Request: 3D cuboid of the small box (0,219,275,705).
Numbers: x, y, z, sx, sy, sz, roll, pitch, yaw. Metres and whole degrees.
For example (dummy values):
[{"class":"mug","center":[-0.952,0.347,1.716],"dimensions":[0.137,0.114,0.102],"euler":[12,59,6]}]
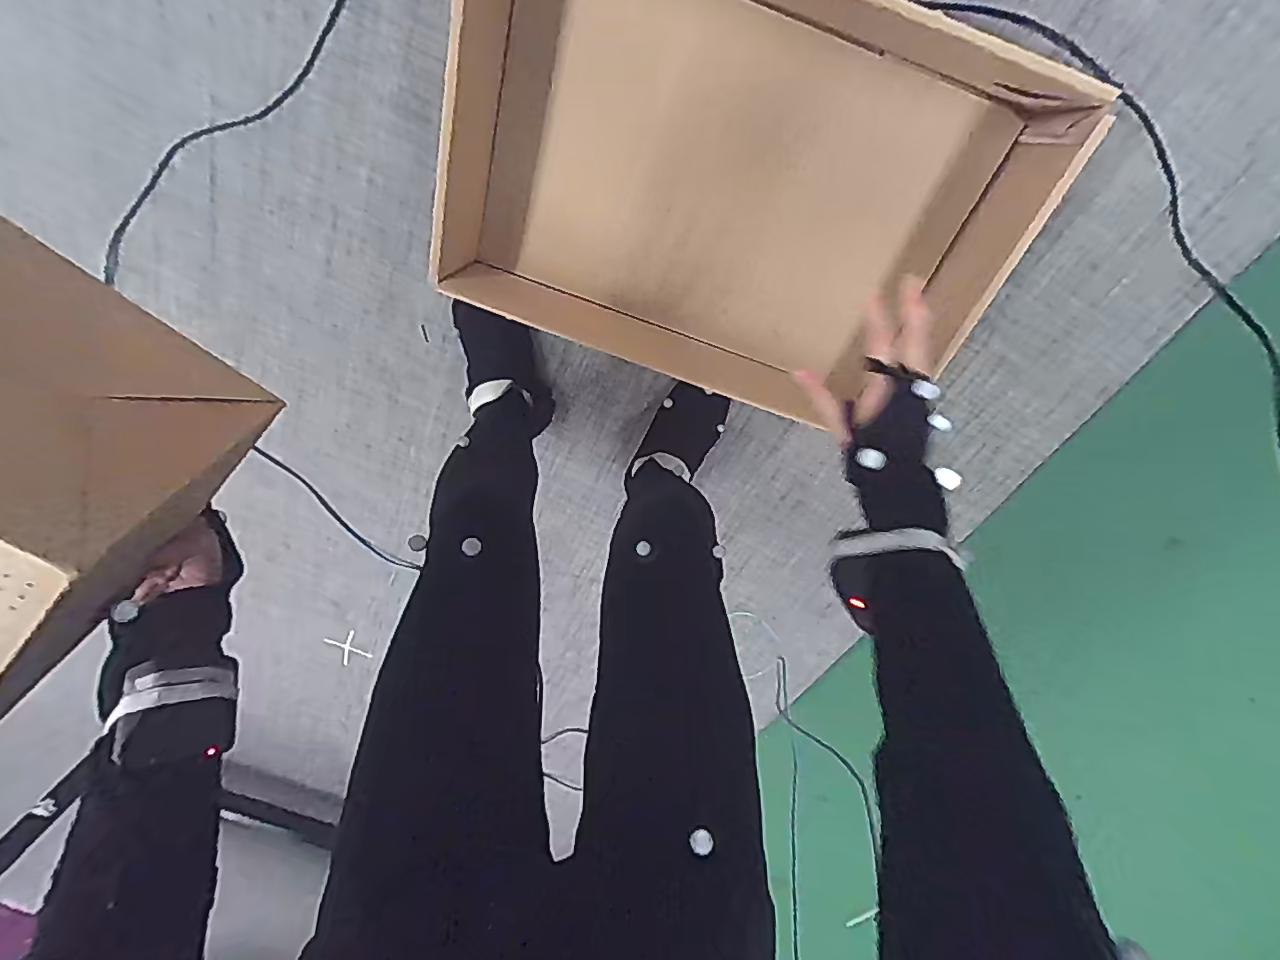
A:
[{"class":"small box","center":[-0.311,-0.009,0.238],"dimensions":[0.176,0.179,0.168],"euler":[-44,117,12]}]
